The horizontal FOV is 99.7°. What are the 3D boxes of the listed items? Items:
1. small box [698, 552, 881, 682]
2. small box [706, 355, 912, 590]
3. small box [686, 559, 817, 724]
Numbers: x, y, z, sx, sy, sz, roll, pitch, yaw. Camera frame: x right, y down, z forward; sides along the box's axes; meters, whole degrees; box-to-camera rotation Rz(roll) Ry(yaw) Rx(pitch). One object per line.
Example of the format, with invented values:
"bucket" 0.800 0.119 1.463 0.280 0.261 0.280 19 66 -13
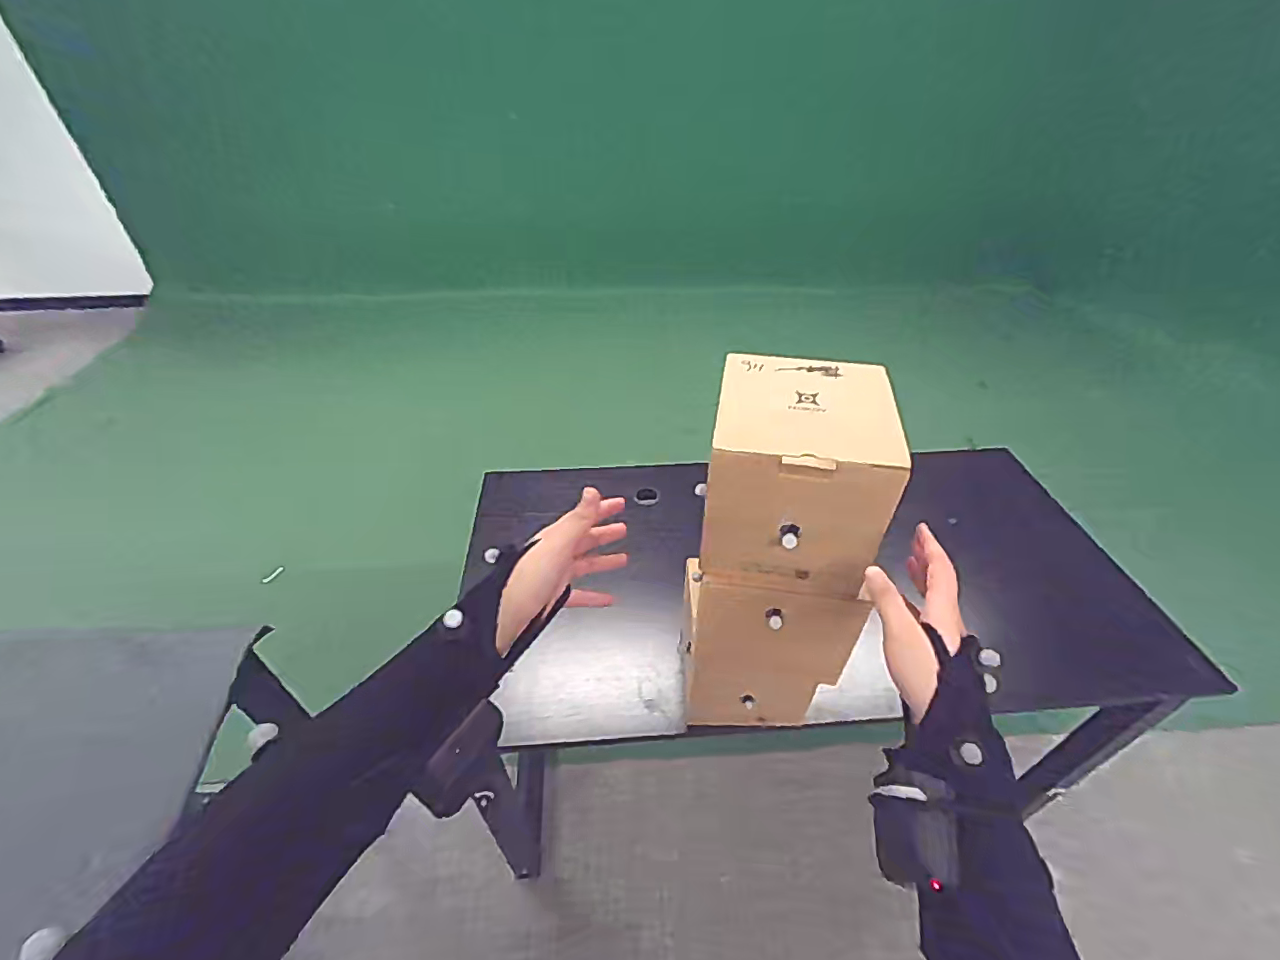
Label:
"small box" 0.169 0.125 0.660 0.179 0.176 0.168 5 41 7
"small box" 0.162 -0.009 0.564 0.168 0.176 0.179 7 43 9
"small box" 0.155 0.234 0.781 0.168 0.176 0.179 1 41 0
